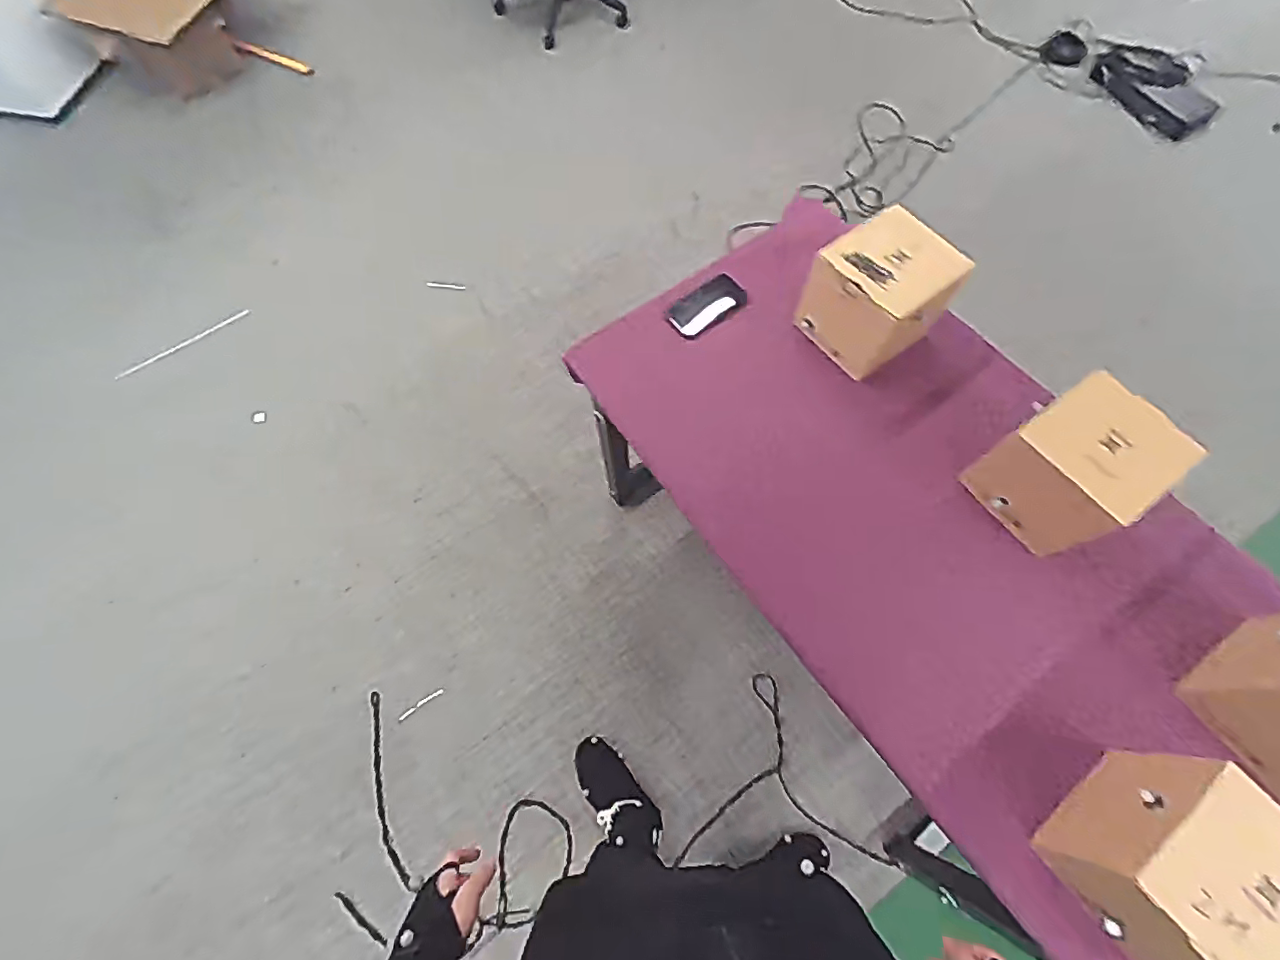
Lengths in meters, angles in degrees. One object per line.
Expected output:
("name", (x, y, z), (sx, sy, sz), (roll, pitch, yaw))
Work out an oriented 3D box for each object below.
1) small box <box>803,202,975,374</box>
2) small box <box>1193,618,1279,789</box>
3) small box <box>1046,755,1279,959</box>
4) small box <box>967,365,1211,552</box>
("small box", (0.394, -0.309, 0.897), (0.179, 0.176, 0.168), (-35, 71, -12))
("small box", (0.847, 0.268, 0.648), (0.179, 0.176, 0.168), (-33, 70, -11))
("small box", (0.603, 0.427, 0.587), (0.179, 0.176, 0.168), (-36, 70, -12))
("small box", (0.621, -0.023, 0.776), (0.179, 0.176, 0.168), (-34, 70, -11))
